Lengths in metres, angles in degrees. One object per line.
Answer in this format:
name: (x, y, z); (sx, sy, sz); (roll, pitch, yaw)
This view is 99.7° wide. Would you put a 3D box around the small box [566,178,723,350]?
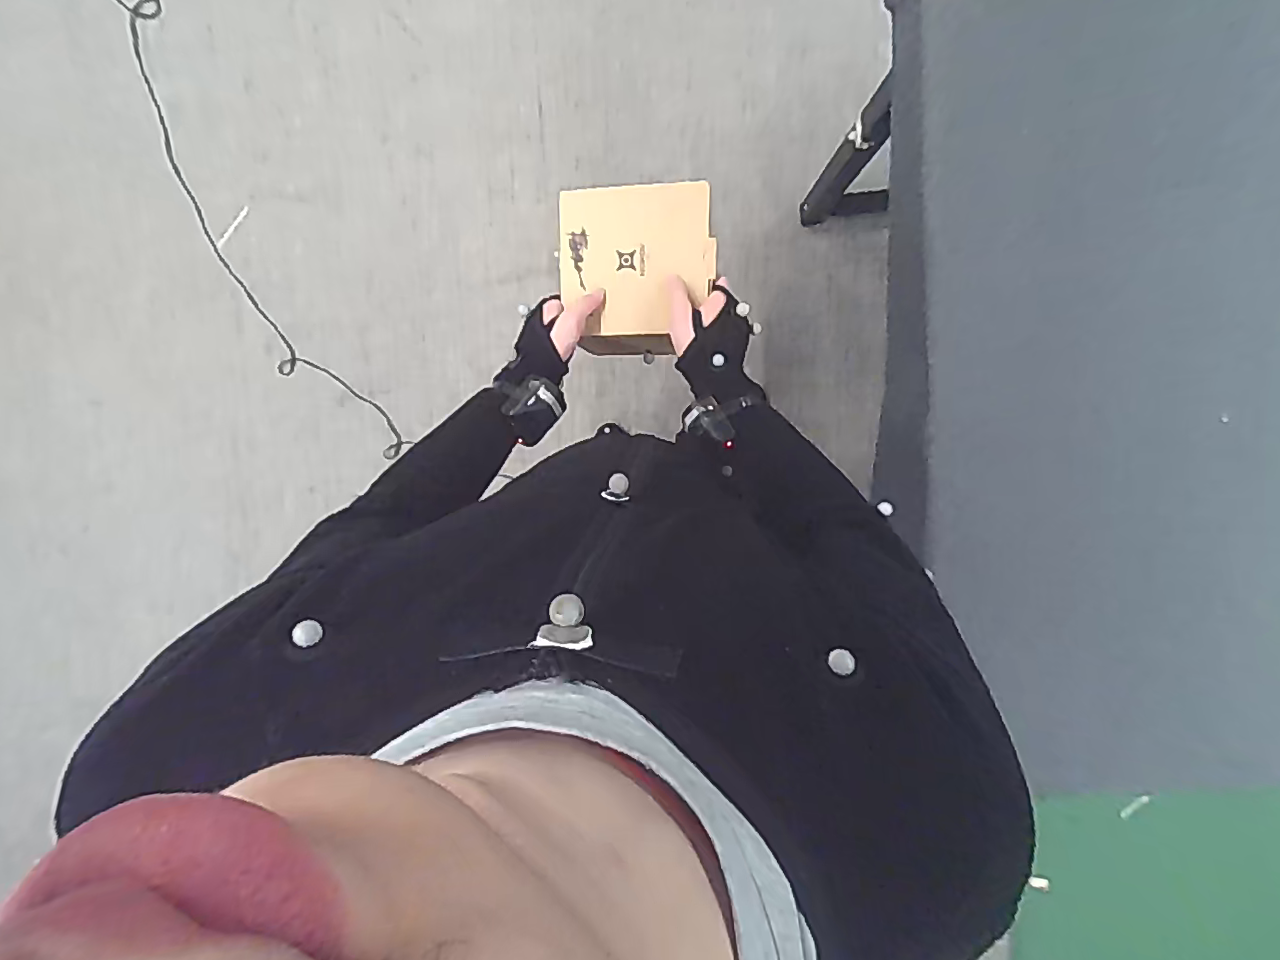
small box: (0.011, -0.259, 0.682); (0.179, 0.176, 0.168); (1, 96, 7)
